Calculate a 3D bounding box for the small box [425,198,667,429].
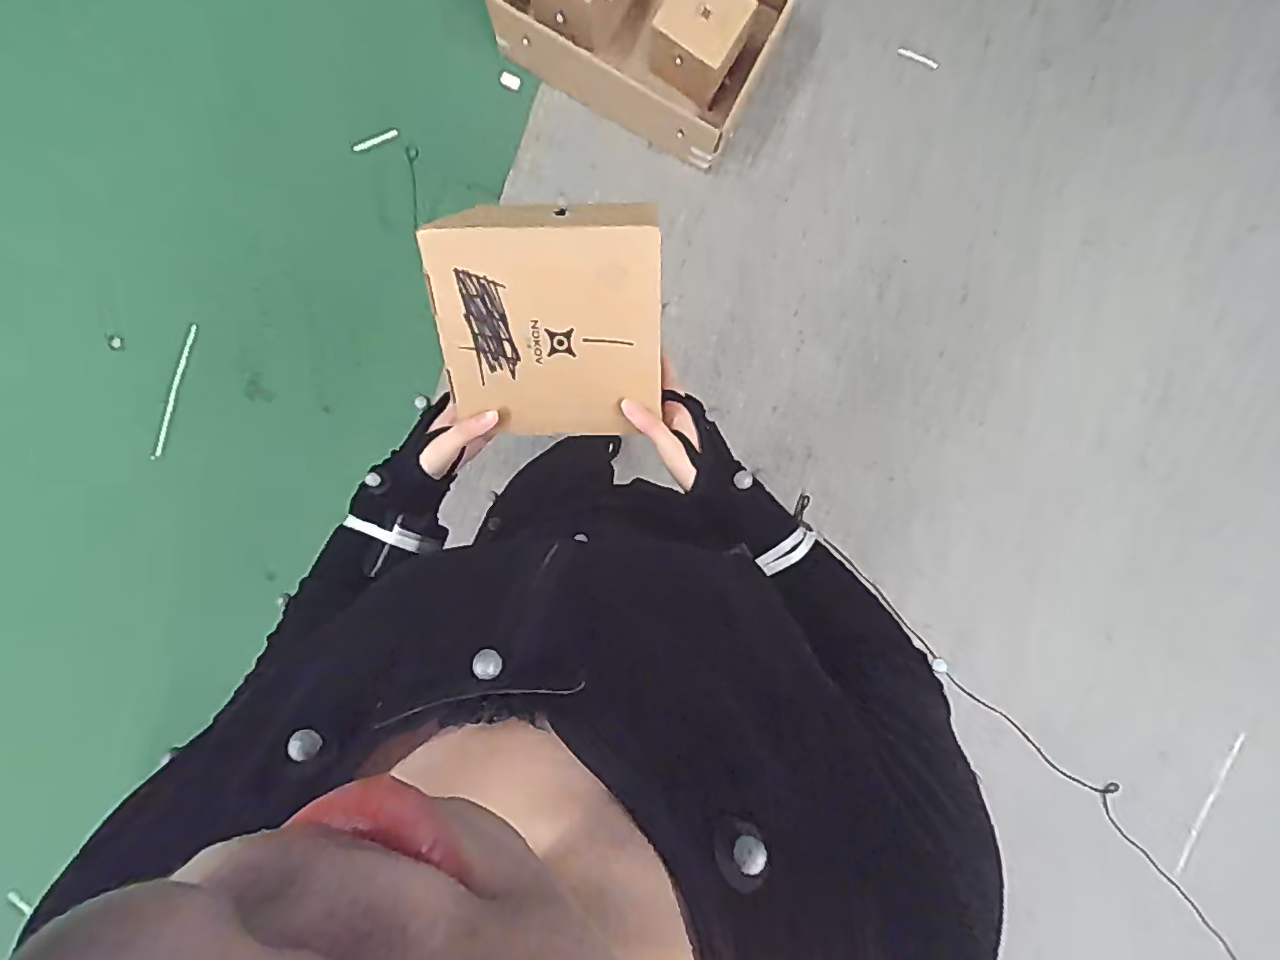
[{"bbox_3d":[-0.066,-0.156,0.491,0.179,0.176,0.168,0,122,0],"label":"small box"}]
